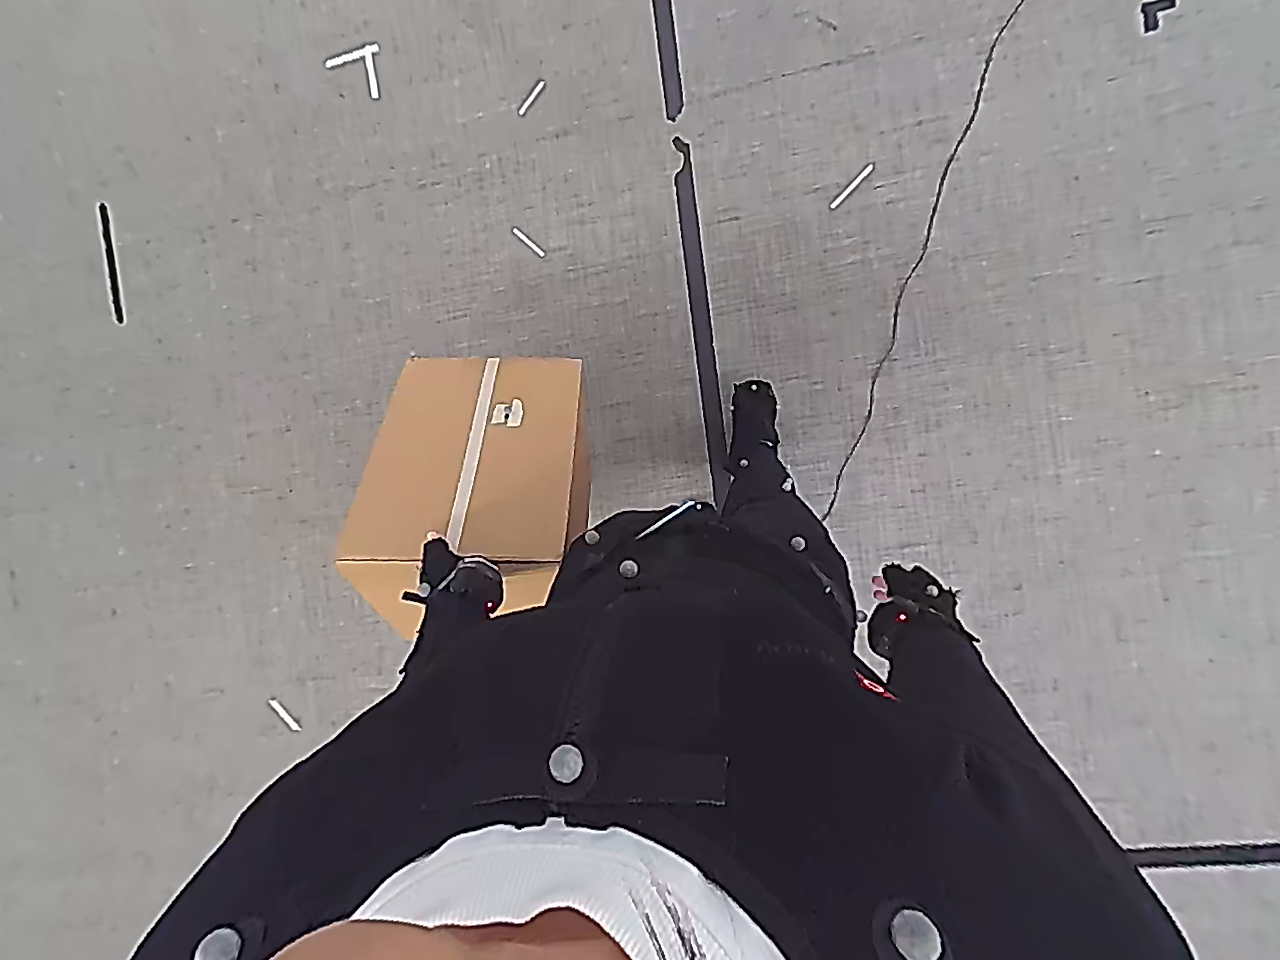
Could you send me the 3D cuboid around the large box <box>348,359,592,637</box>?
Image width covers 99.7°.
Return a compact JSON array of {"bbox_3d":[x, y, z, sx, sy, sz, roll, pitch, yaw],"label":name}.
[{"bbox_3d":[-0.254,0.036,0.974,0.320,0.320,0.408,1,53,-2],"label":"large box"}]
